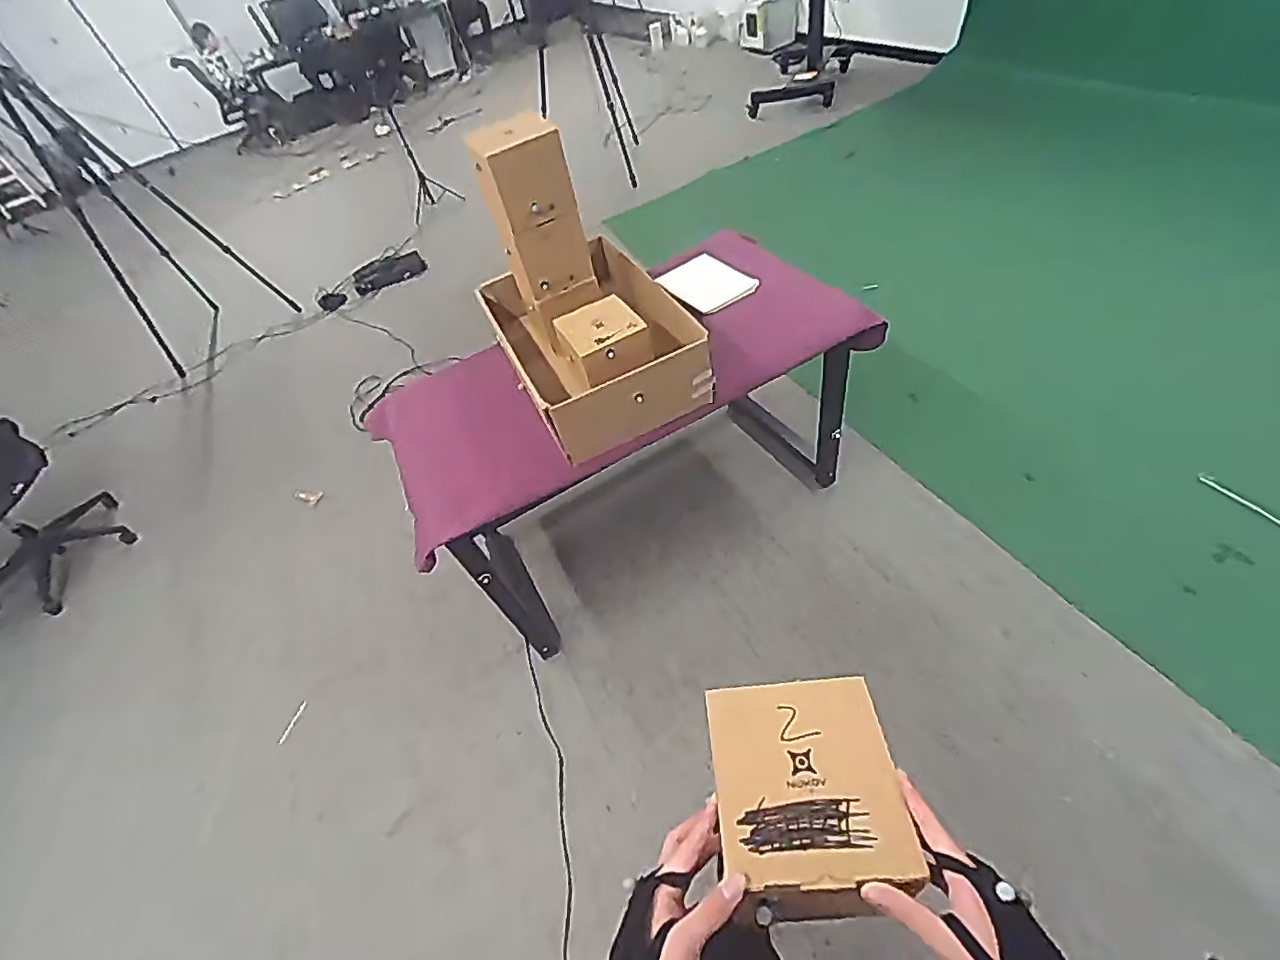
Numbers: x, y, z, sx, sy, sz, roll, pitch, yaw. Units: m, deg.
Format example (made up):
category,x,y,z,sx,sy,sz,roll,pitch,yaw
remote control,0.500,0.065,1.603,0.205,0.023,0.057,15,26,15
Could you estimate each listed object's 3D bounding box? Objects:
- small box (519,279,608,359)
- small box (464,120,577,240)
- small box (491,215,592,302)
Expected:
category,x,y,z,sx,sy,sz,roll,pitch,yaw
small box,-0.203,-0.454,1.444,0.168,0.176,0.179,-28,52,-11
small box,-0.261,-0.663,1.199,0.168,0.176,0.179,-29,52,-11
small box,-0.235,-0.561,1.323,0.168,0.176,0.179,-29,50,-11
